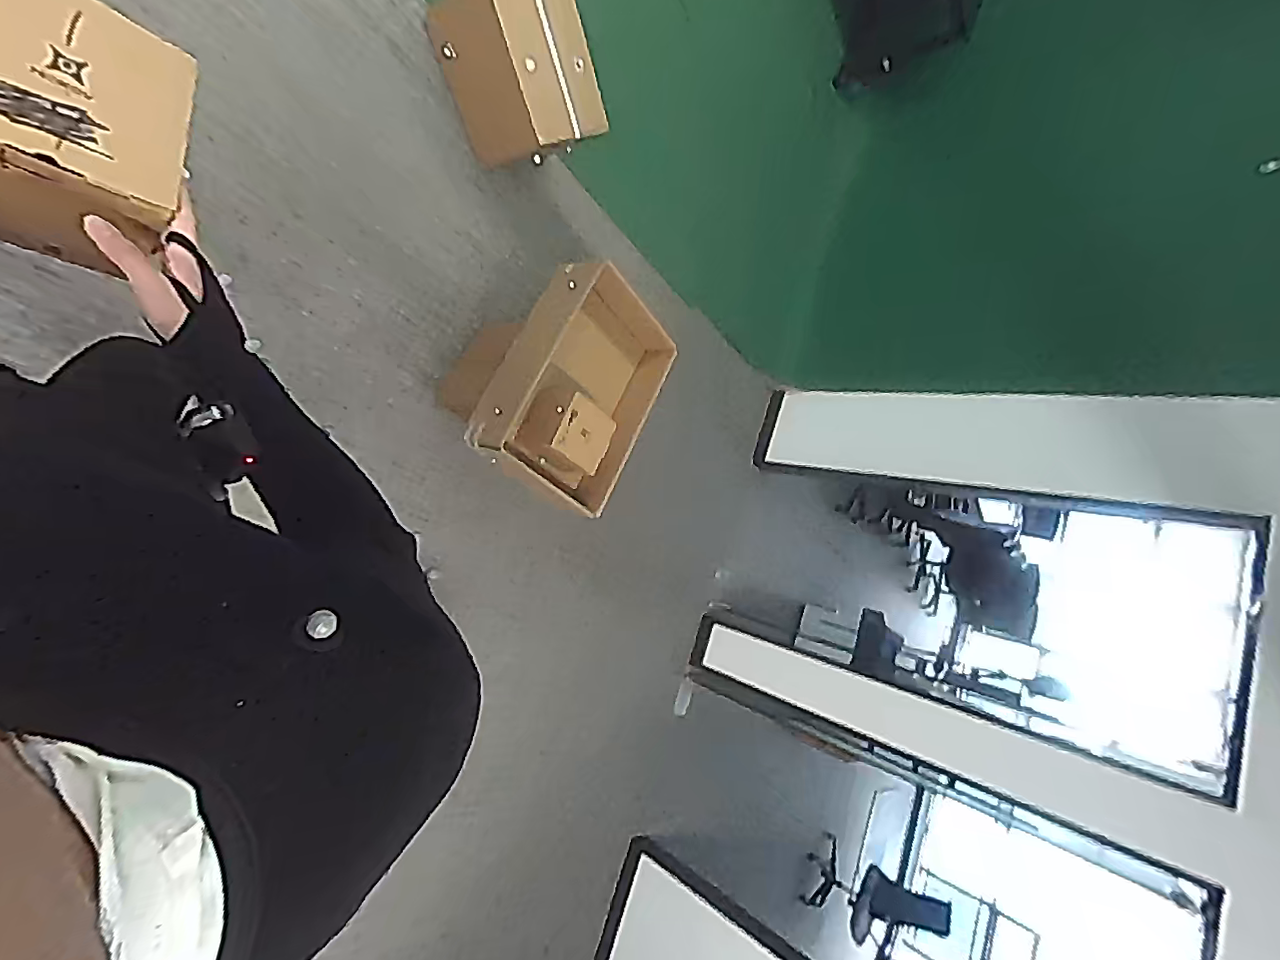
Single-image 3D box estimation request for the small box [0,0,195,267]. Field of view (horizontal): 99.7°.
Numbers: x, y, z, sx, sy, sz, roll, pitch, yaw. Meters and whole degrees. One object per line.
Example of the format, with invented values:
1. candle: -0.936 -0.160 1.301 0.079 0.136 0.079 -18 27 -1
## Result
1. small box: -0.543 -0.328 0.495 0.168 0.176 0.179 11 73 -52
